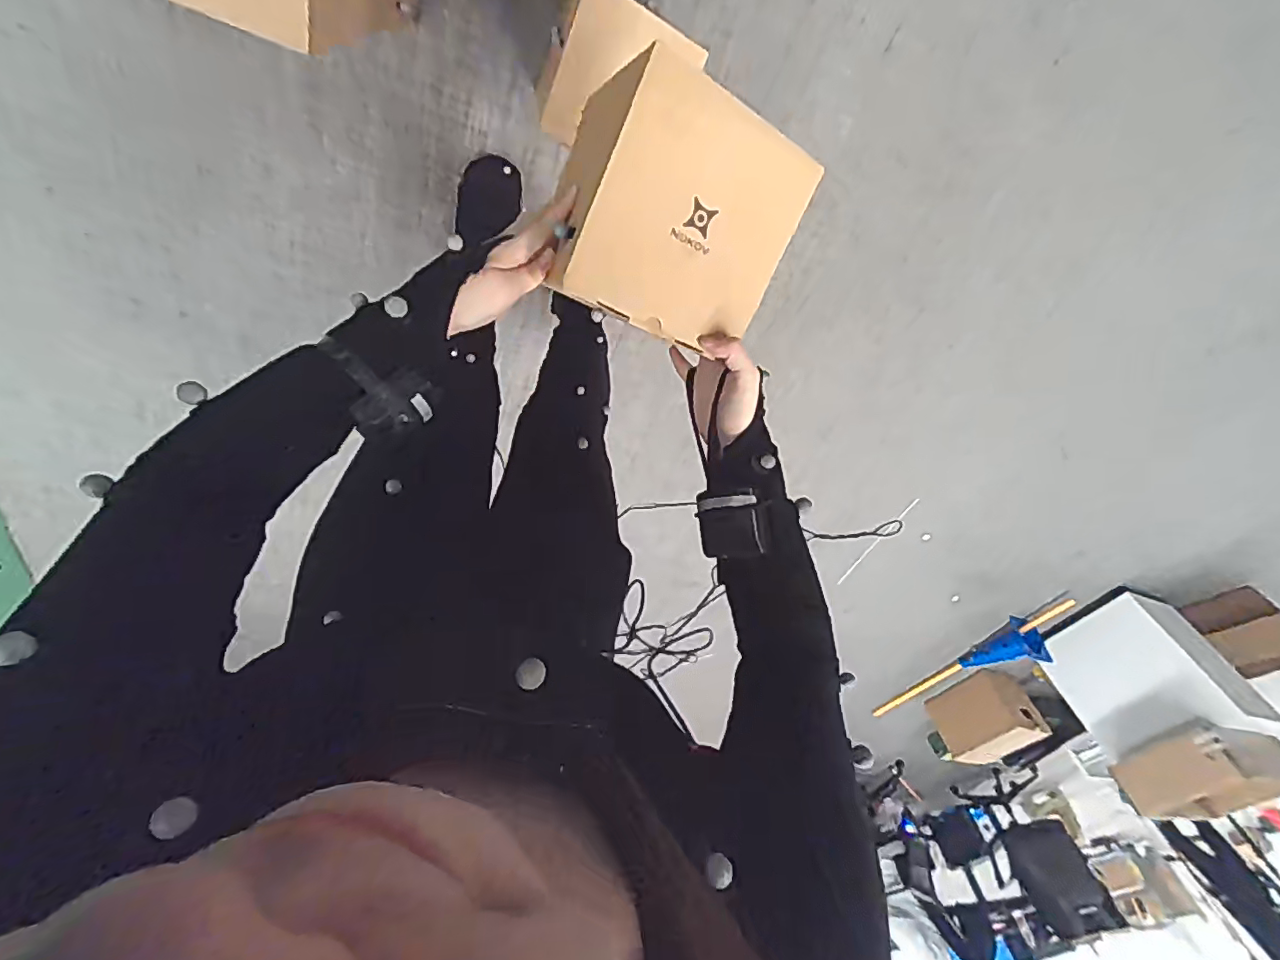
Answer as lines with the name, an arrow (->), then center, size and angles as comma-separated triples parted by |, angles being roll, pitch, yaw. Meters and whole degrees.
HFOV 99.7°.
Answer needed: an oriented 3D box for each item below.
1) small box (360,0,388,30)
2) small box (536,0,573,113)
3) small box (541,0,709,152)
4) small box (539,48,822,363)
small box -> -0.379, -0.632, 0.597 | 0.168, 0.176, 0.179 | 10, 130, -19
small box -> -0.061, -0.656, 0.866 | 0.168, 0.176, 0.179 | 17, 128, -25
small box -> -0.034, -0.546, 0.746 | 0.168, 0.176, 0.179 | 16, 128, -24
small box -> 0.021, -0.233, 0.494 | 0.168, 0.176, 0.179 | 16, 107, -28
